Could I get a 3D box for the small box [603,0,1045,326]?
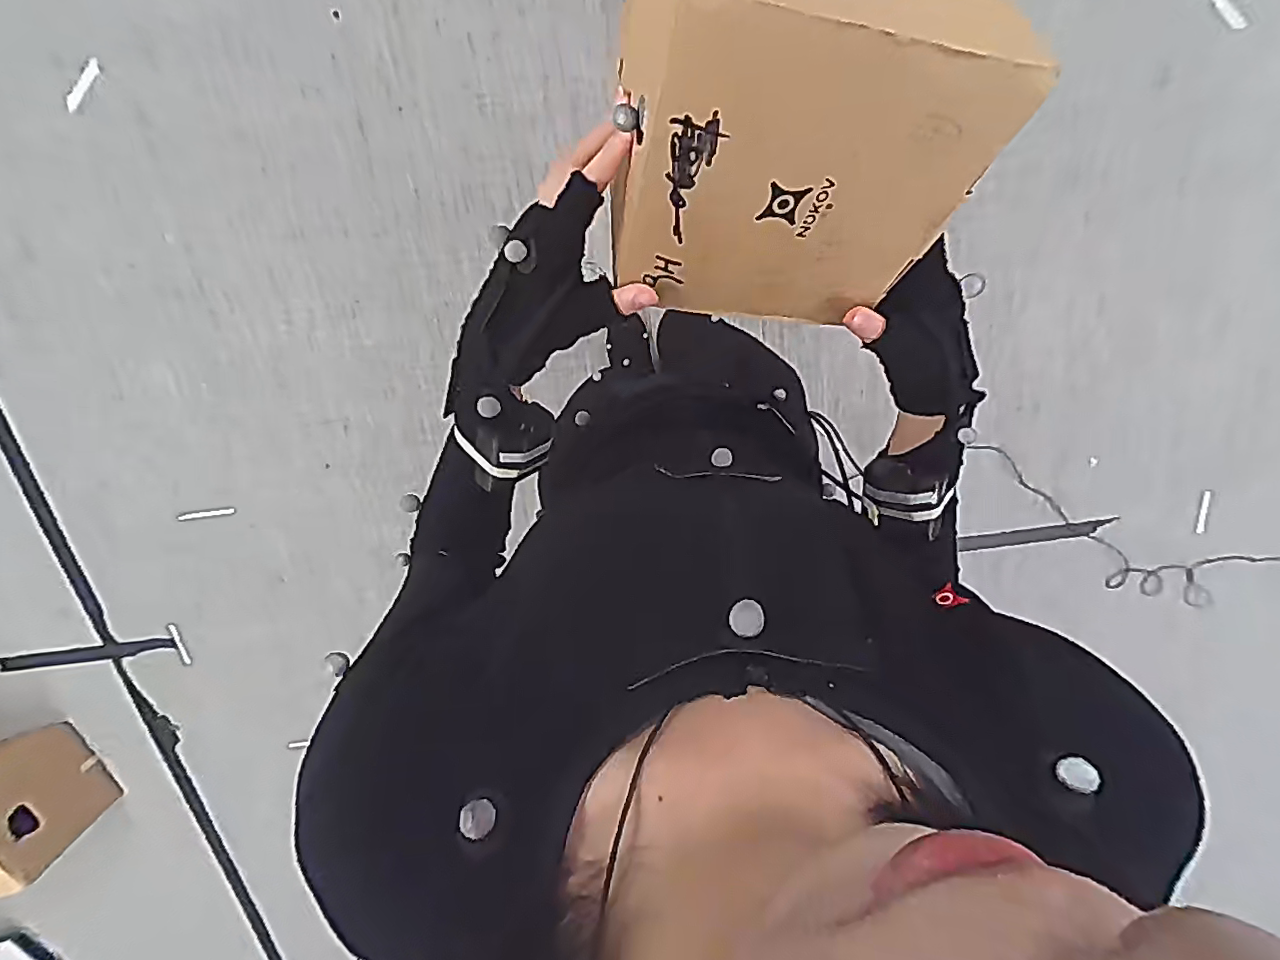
[{"bbox_3d":[0.077,-0.219,0.326,0.179,0.168,0.176,2,62,-12],"label":"small box"}]
